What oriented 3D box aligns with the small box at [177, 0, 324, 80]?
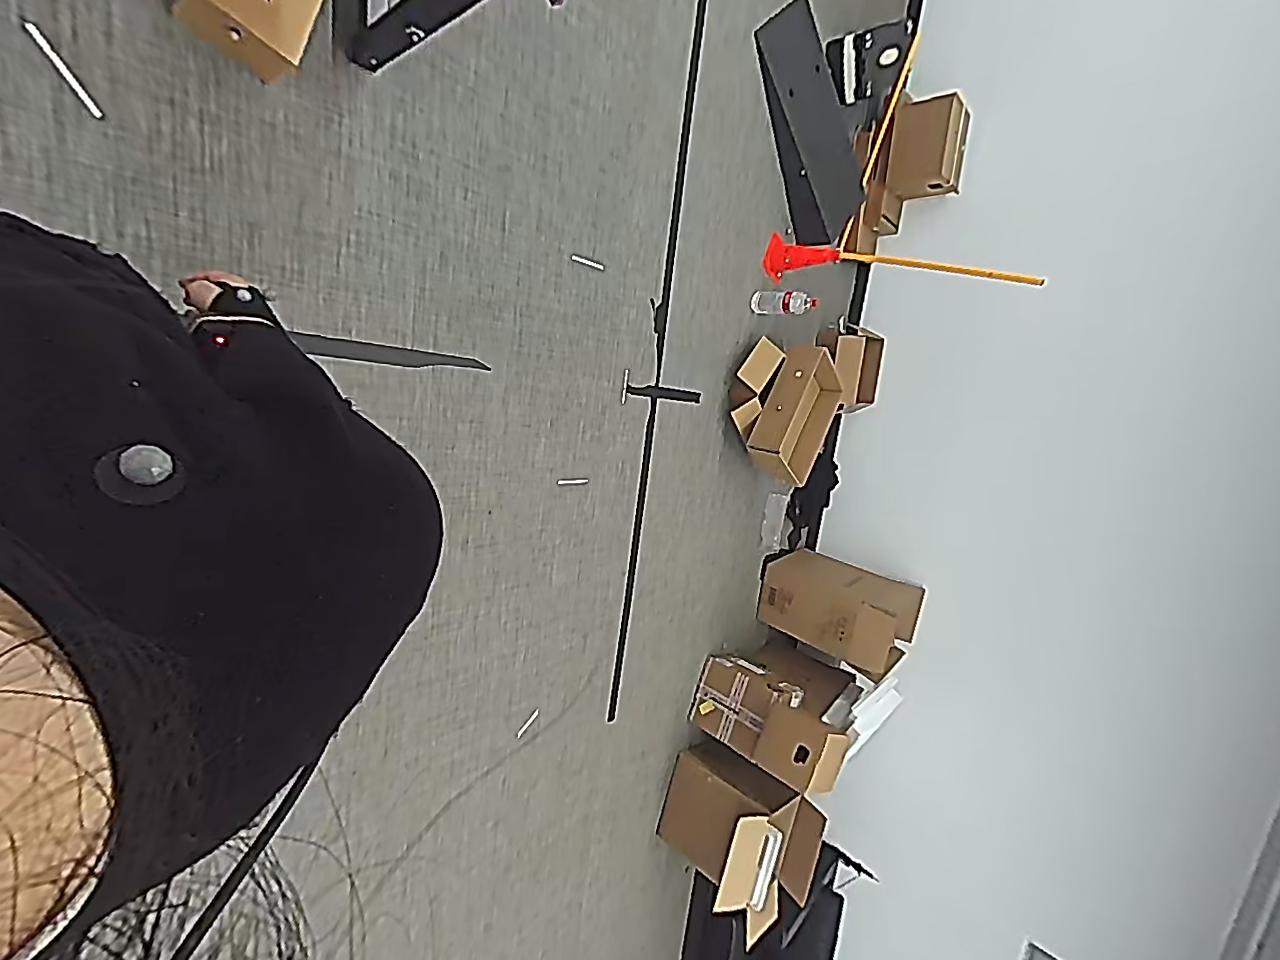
[{"bbox_3d":[-0.762,-0.930,1.058,0.179,0.176,0.168,22,87,-49],"label":"small box"}]
